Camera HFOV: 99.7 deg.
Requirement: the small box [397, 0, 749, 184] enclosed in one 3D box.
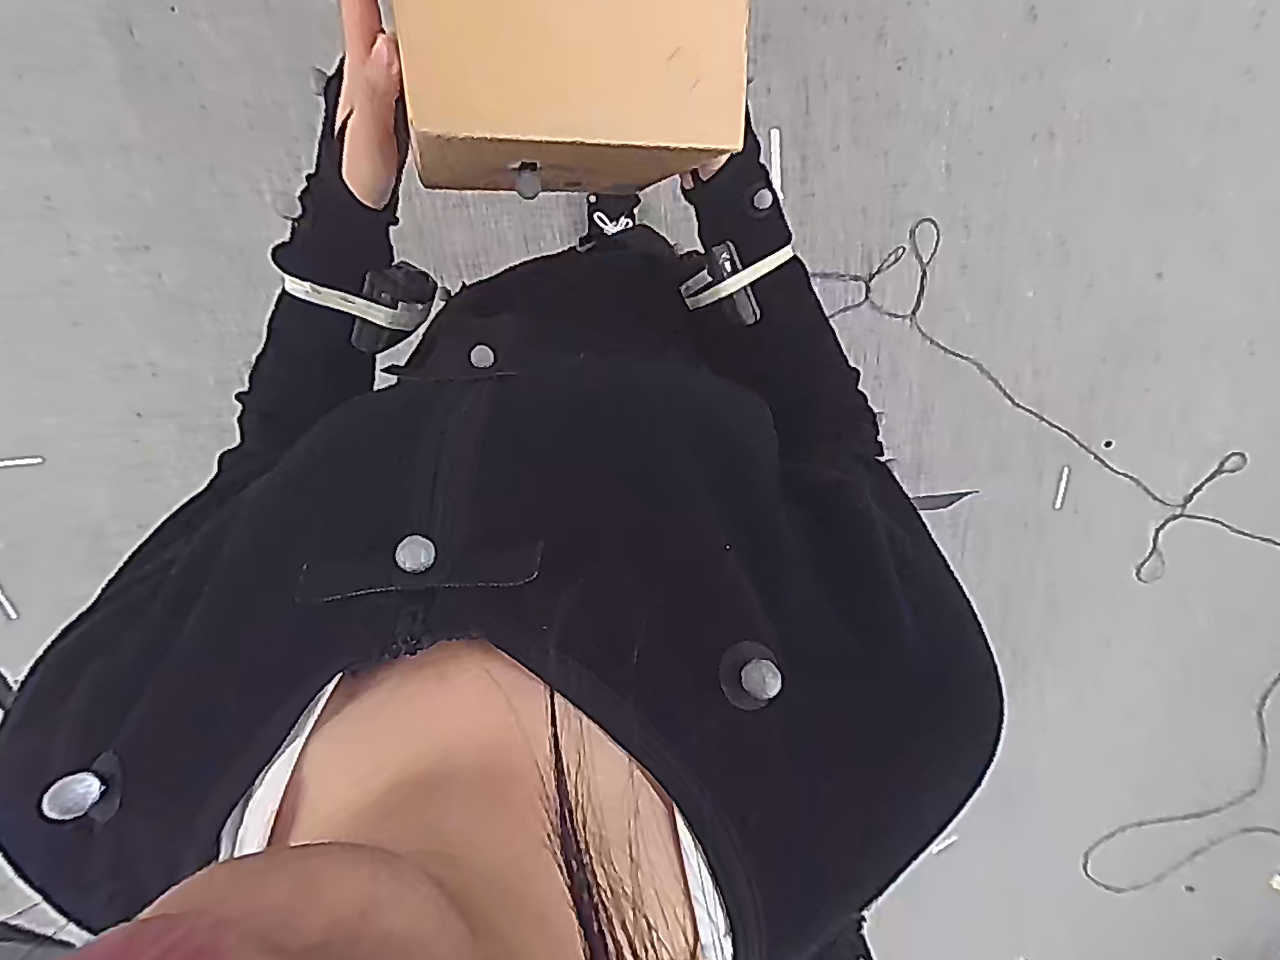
[{"bbox_3d":[-0.050,-0.276,0.305,0.168,0.176,0.179,-9,111,-17],"label":"small box"}]
